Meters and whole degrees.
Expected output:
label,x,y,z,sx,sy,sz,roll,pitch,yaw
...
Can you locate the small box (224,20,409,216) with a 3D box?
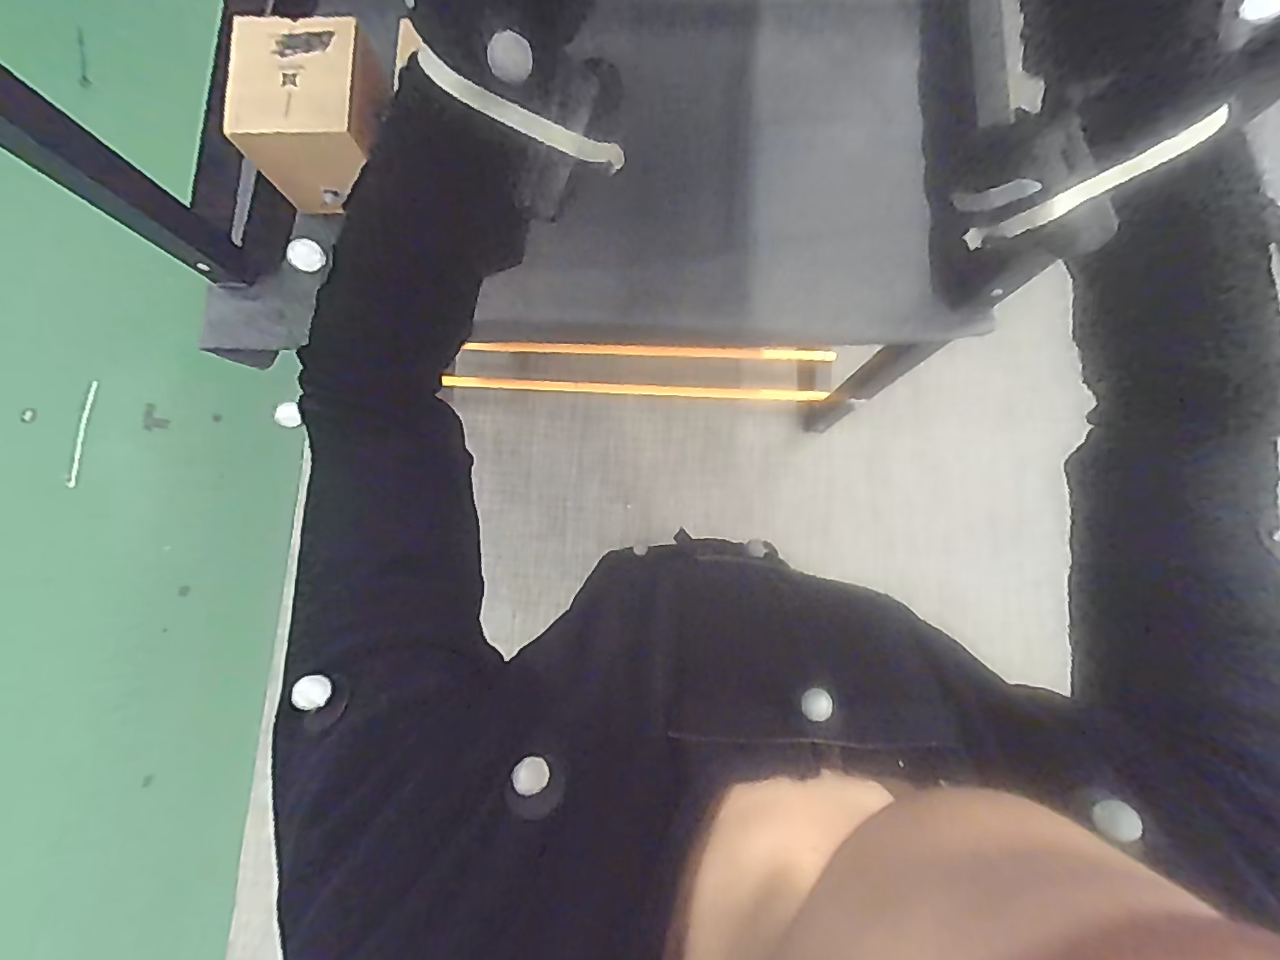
label,x,y,z,sx,sy,sz,roll,pitch,yaw
small box,-0.457,-0.520,0.793,0.168,0.176,0.179,0,82,1
